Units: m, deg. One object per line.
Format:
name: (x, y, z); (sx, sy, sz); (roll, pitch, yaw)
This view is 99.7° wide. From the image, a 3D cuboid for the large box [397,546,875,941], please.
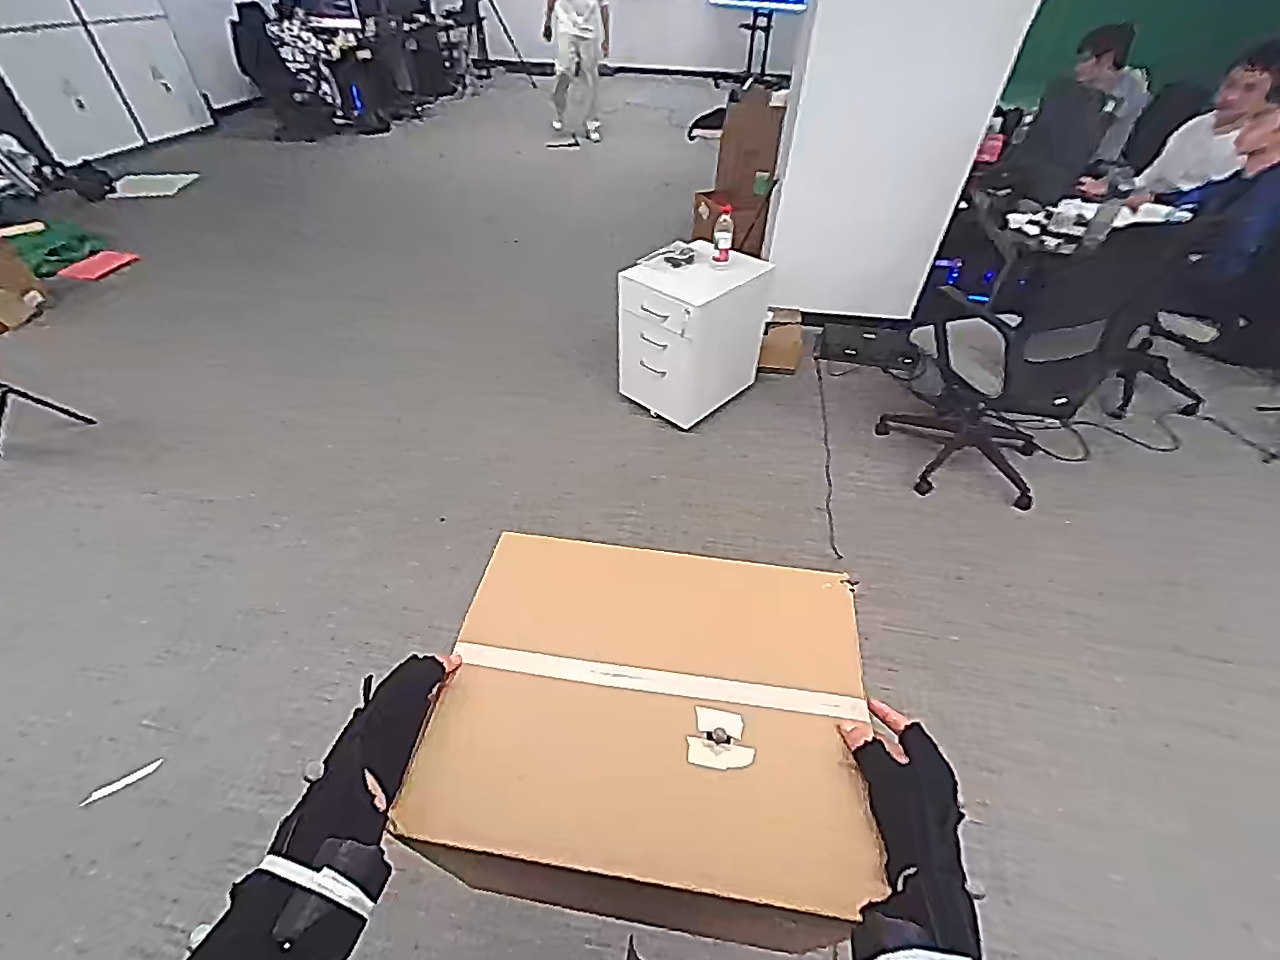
large box: (0.006, 0.310, 0.646); (0.408, 0.320, 0.320); (6, 47, 5)
